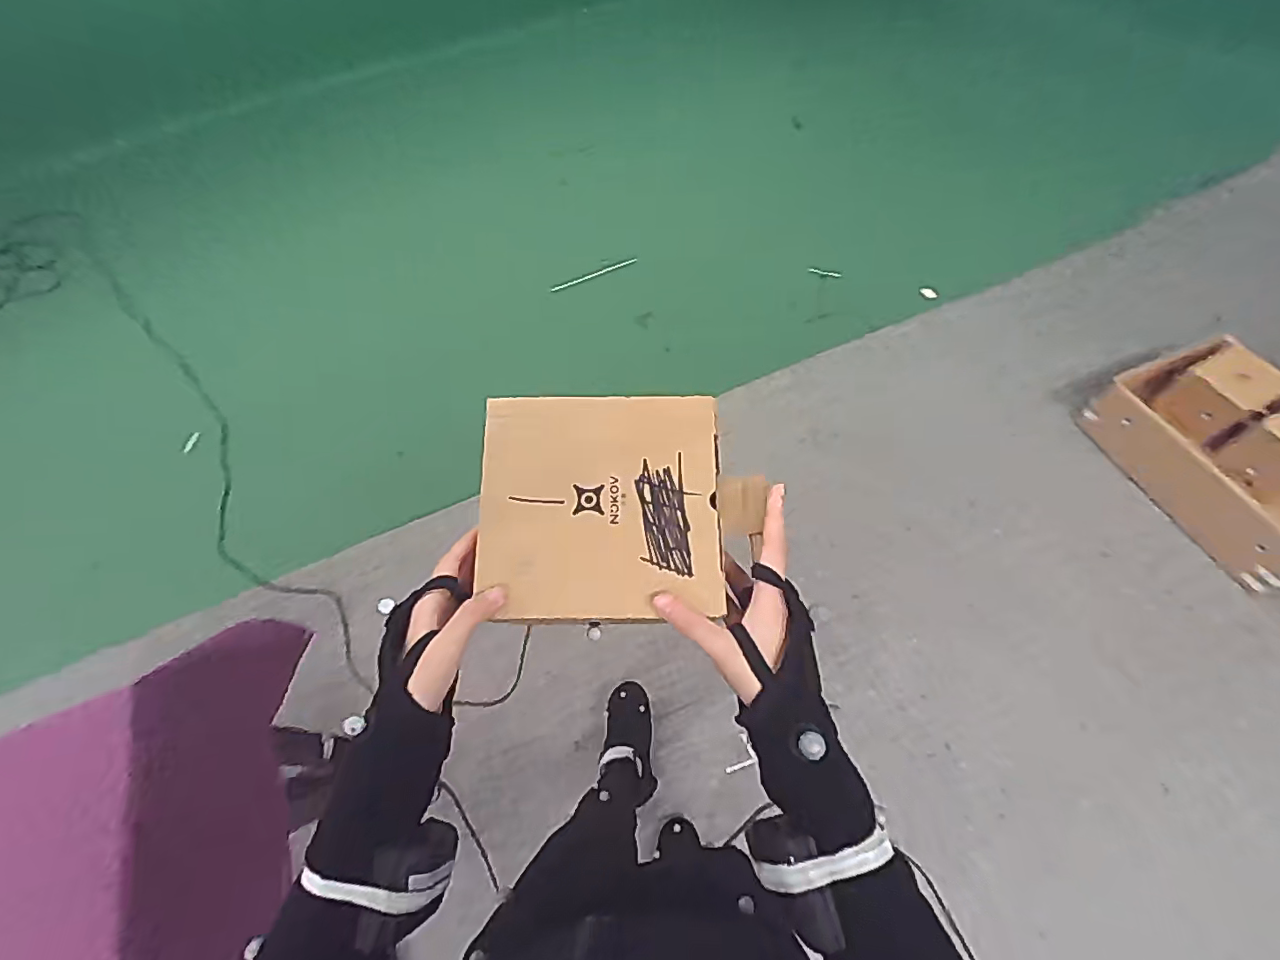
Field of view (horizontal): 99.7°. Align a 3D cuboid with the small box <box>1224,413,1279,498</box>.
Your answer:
[{"bbox_3d":[1.676,-0.083,1.372,0.179,0.176,0.168,-22,59,-5],"label":"small box"}]
